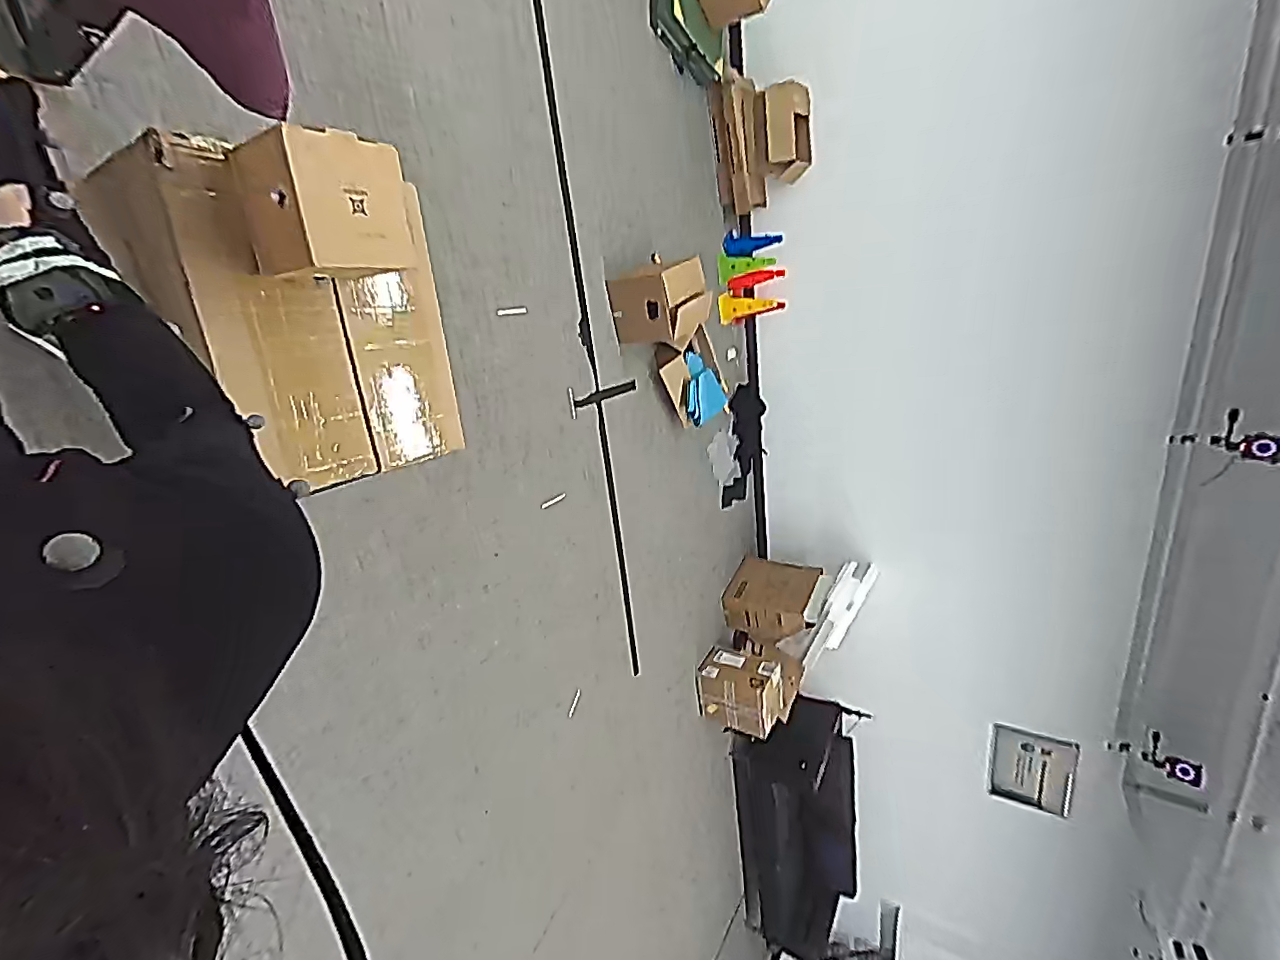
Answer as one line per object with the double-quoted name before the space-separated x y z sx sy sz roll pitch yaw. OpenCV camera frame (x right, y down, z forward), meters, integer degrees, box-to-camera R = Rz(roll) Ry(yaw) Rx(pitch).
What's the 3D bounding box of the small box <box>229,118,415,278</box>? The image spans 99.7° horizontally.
"small box" -0.474 -0.405 0.811 0.168 0.176 0.179 -28 119 -51
